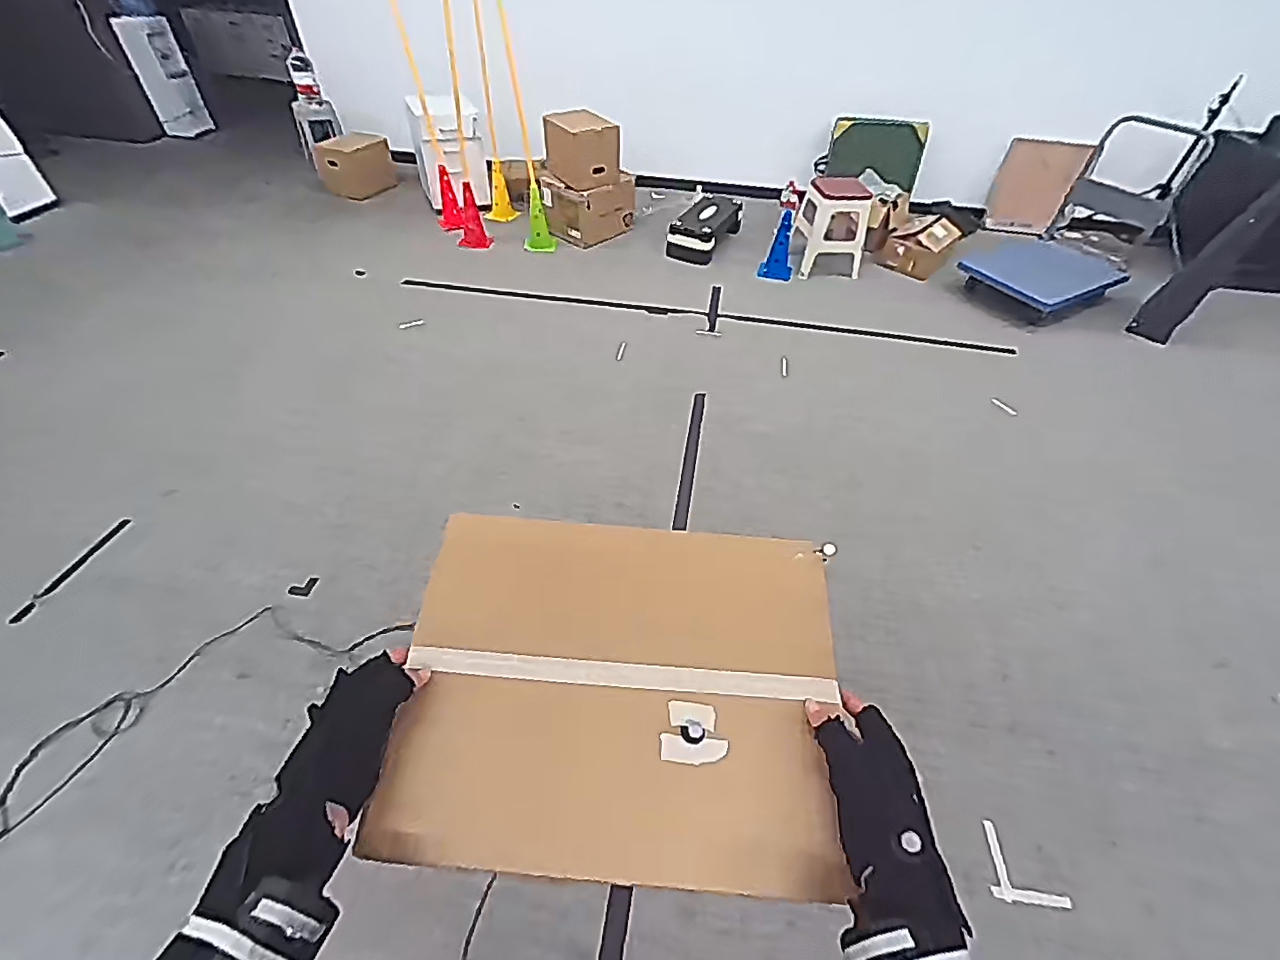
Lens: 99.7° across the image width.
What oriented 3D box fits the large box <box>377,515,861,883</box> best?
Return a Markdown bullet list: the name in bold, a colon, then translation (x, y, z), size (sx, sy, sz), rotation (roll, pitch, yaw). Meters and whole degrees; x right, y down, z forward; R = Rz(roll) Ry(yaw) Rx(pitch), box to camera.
- **large box**: translation (-0.015, 0.262, 0.641), size (0.408, 0.320, 0.320), rotation (5, 58, 0)
